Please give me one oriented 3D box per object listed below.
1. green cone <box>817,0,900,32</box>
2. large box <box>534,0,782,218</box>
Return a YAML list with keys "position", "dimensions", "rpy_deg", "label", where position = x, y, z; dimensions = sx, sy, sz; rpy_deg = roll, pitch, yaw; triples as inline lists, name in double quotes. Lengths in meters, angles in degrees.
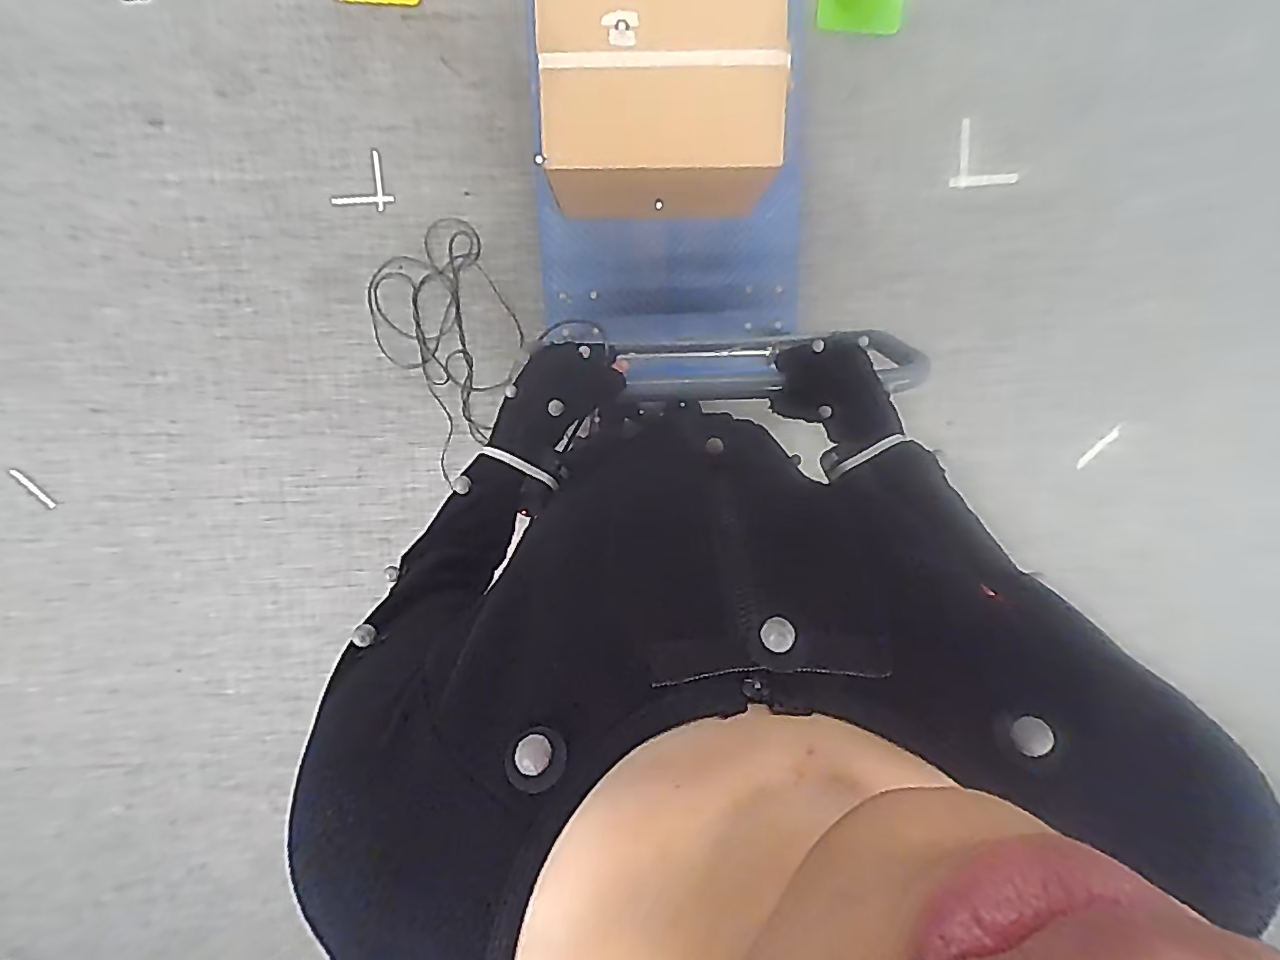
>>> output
- position: [0.527, -1.141, 1.103]
  dimensions: [0.202, 0.368, 0.200]
  rpy_deg: [2, 101, -3]
  label: "green cone"
- position: [0.033, -0.703, 1.027]
  dimensions: [0.408, 0.320, 0.320]
  rpy_deg: [-1, 101, 0]
  label: "large box"
